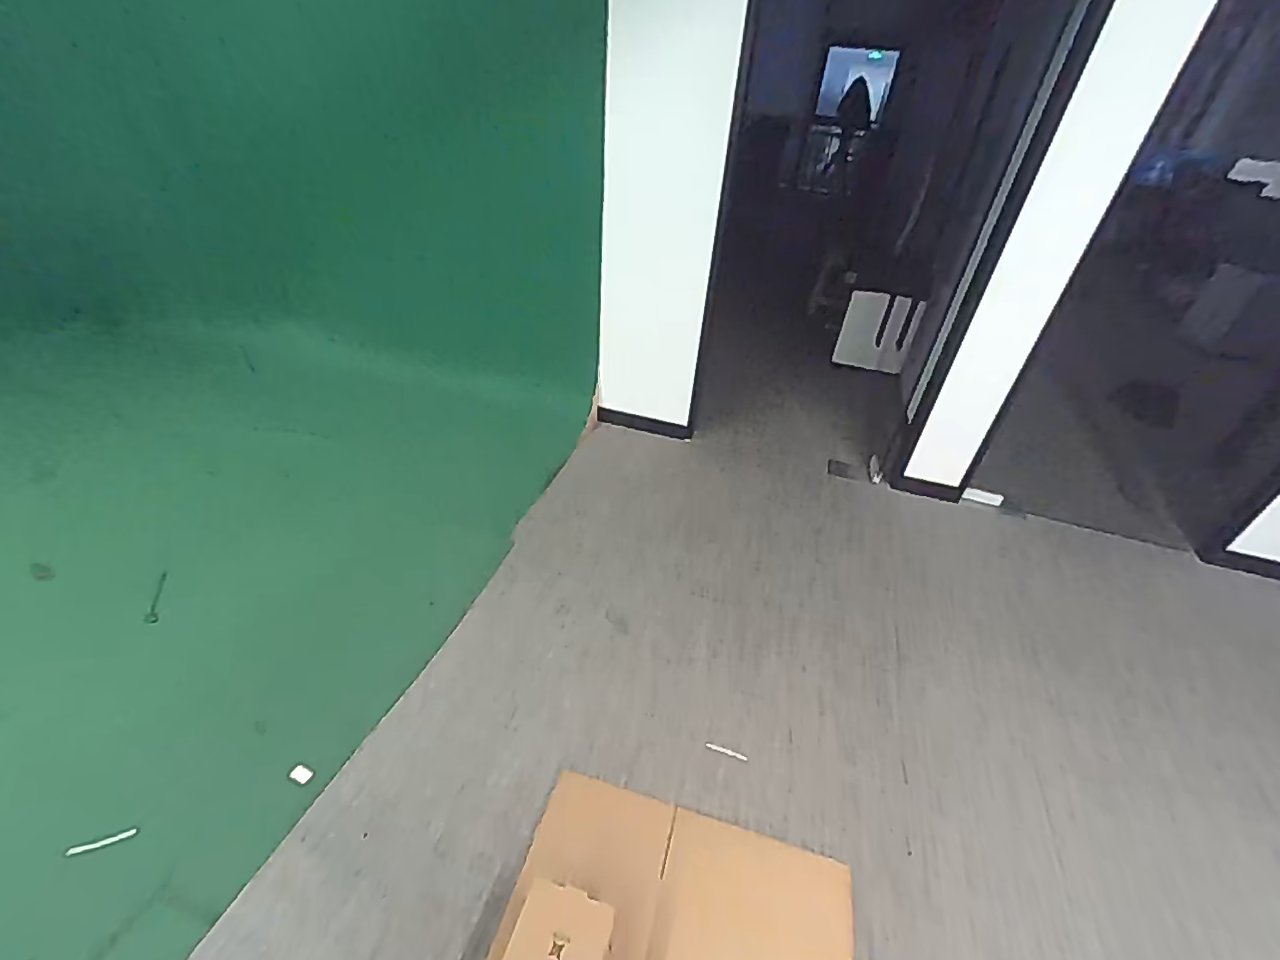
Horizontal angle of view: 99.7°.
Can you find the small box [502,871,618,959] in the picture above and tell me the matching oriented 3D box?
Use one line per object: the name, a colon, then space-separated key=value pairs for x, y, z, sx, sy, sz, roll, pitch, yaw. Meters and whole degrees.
small box: x=-0.147 y=0.865 z=0.983 sx=0.168 sy=0.176 sz=0.179 roll=13 pitch=38 yaw=11
